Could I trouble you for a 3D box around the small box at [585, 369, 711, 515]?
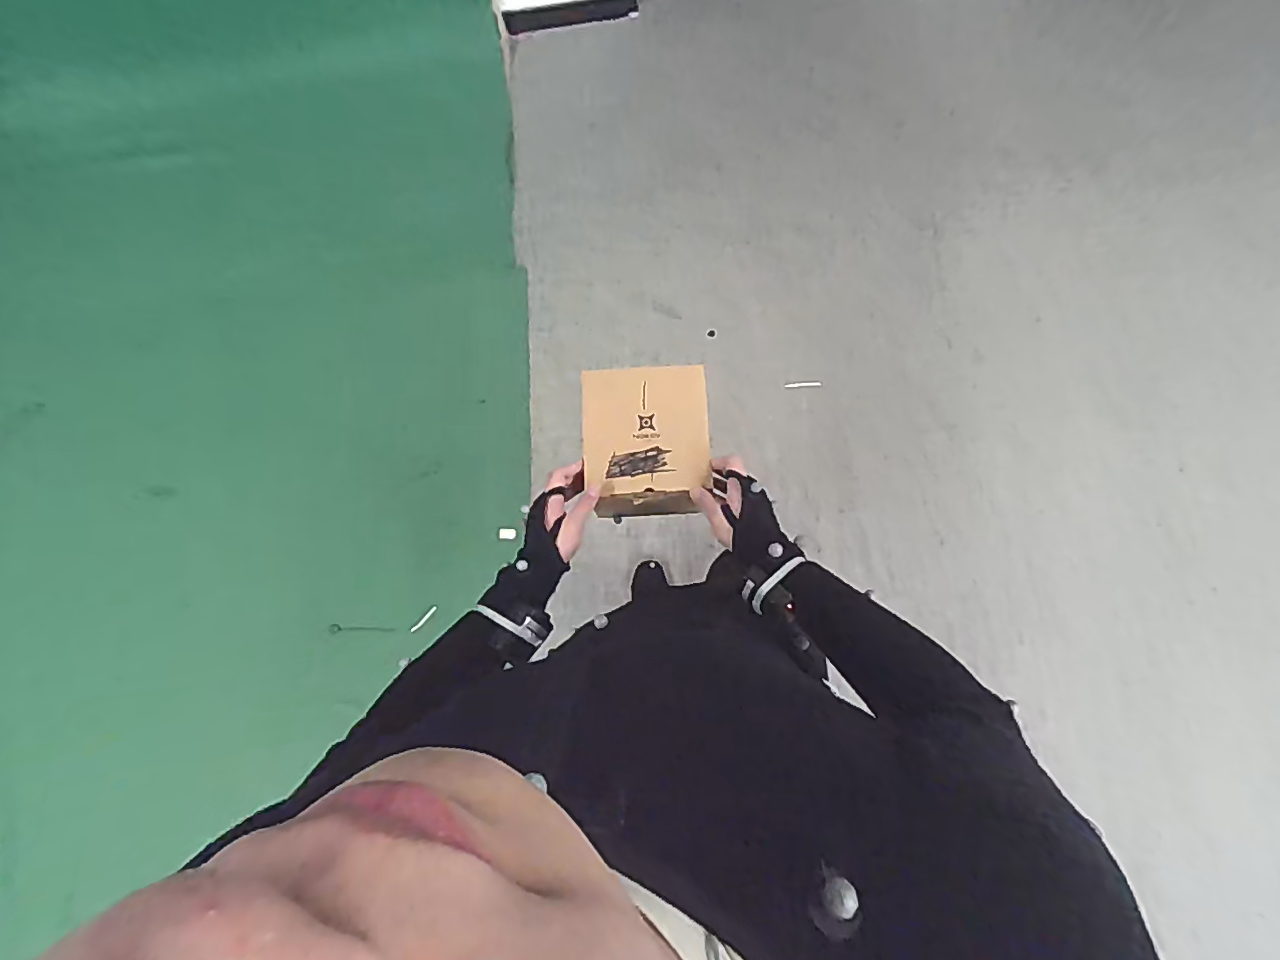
[{"bbox_3d":[0.011,-0.046,0.800,0.168,0.176,0.179,-4,76,0],"label":"small box"}]
